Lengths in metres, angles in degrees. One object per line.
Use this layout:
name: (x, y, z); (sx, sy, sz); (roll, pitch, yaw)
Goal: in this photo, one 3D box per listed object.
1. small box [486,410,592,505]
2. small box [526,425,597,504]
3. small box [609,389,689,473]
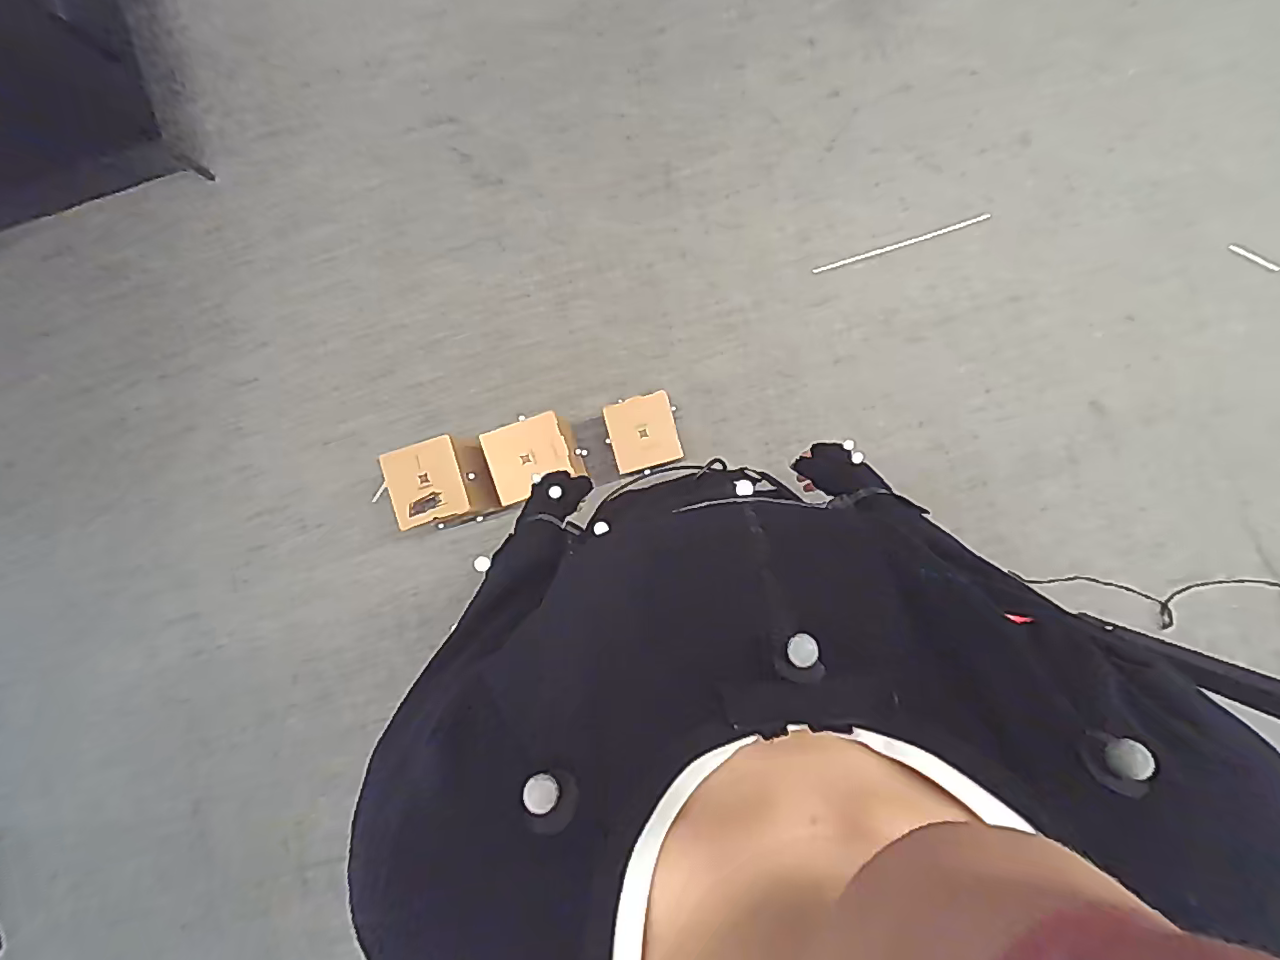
small box: (-0.225, -0.048, 1.244); (0.179, 0.176, 0.168); (-19, 90, 2)
small box: (-0.221, -0.043, 1.406); (0.168, 0.176, 0.179); (-18, 89, 4)
small box: (0.024, -0.119, 1.397); (0.168, 0.176, 0.179); (-15, 90, 3)
